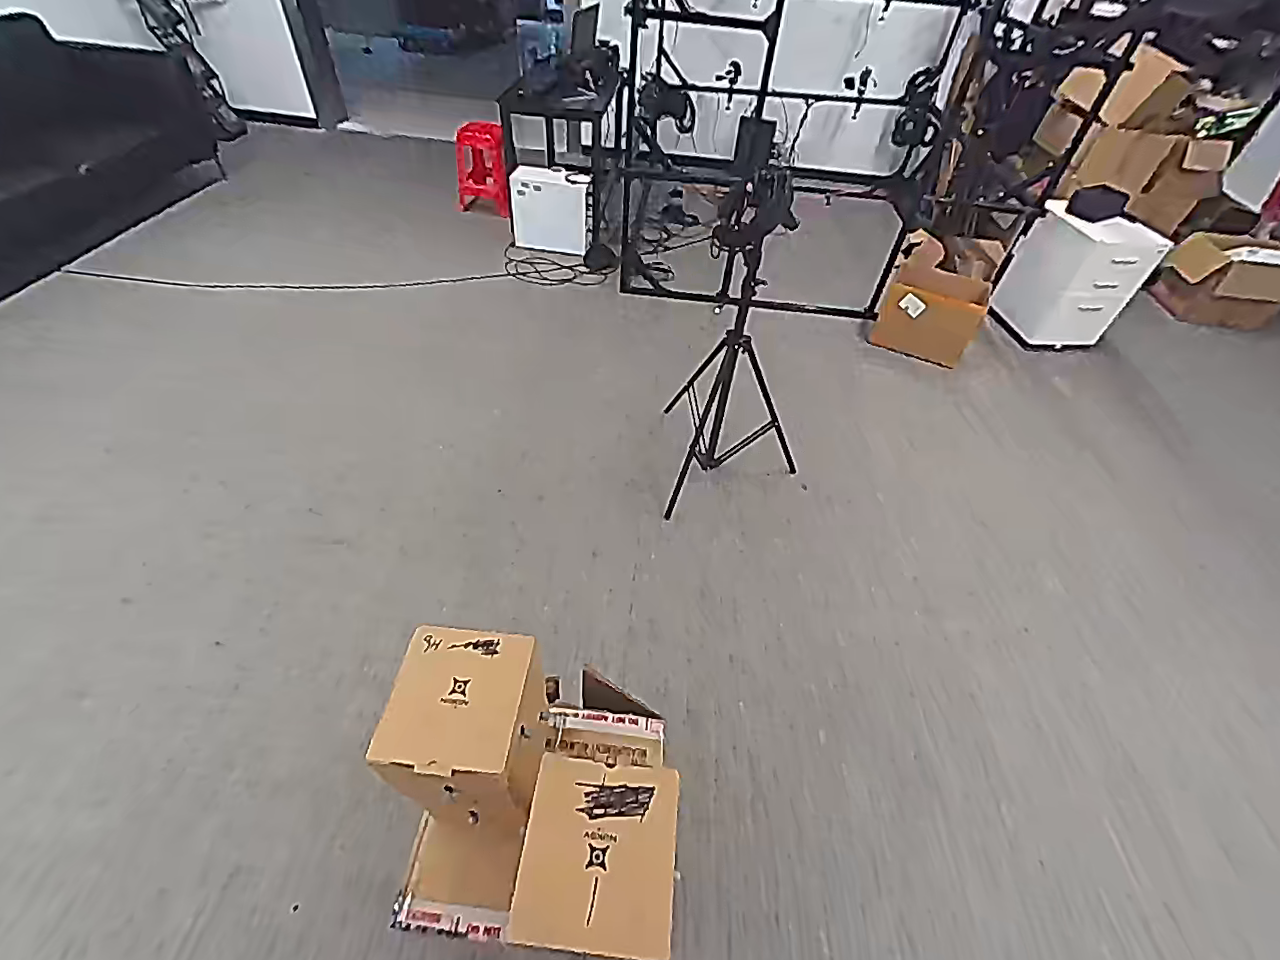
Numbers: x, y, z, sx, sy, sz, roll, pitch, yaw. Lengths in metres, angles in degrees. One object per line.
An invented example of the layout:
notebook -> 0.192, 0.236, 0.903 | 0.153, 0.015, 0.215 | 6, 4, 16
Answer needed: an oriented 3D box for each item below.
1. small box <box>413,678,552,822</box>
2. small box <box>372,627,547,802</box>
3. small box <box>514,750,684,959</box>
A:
small box -> -0.240, 0.428, 0.872 | 0.168, 0.176, 0.179 | 4, 48, 1
small box -> -0.229, 0.325, 0.743 | 0.168, 0.176, 0.179 | 5, 49, 2
small box -> -0.042, 0.449, 0.648 | 0.168, 0.176, 0.179 | 6, 49, 2
